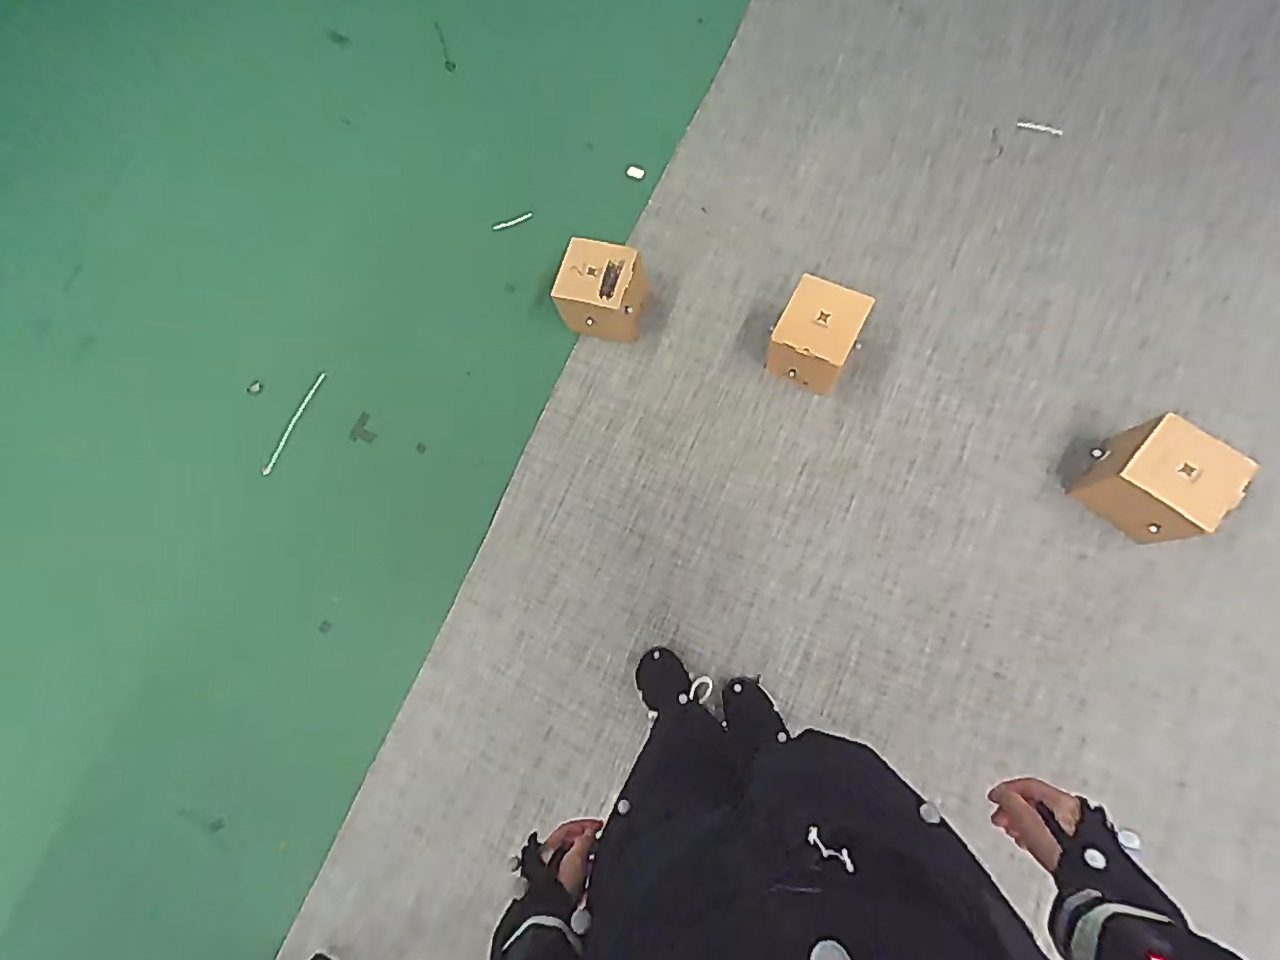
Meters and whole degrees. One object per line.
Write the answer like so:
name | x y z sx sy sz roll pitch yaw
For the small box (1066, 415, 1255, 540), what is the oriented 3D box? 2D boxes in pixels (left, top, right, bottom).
small box | 1.021 0.005 1.080 0.179 0.176 0.168 39 84 16

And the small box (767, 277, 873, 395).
small box | 0.405 -0.327 1.250 0.168 0.176 0.179 26 83 13
